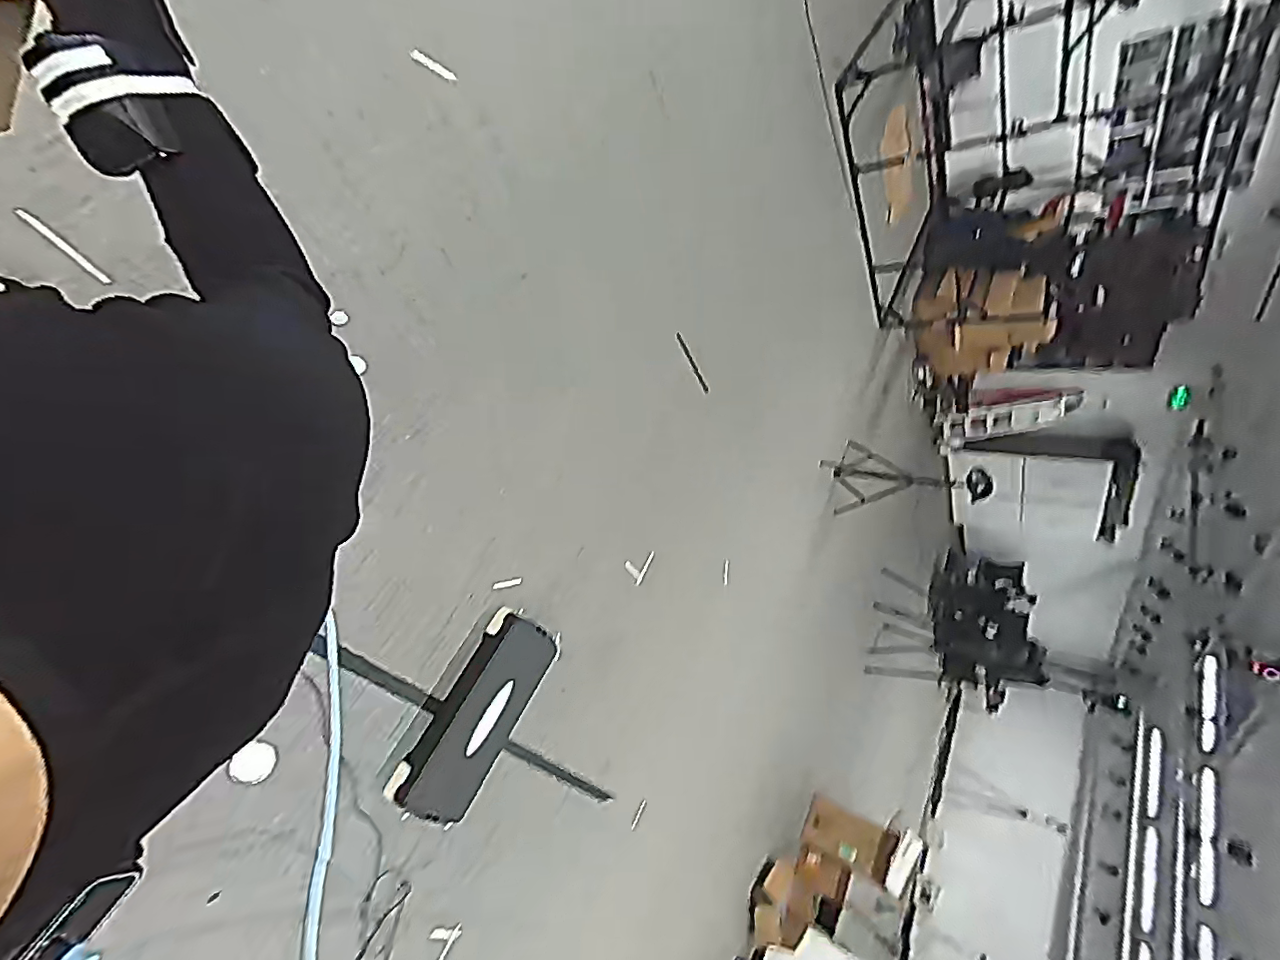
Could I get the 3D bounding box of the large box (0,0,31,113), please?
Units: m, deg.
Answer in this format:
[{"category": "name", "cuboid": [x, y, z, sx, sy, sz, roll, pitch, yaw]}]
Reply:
[{"category": "large box", "cuboid": [-0.621, -0.335, 0.215, 0.408, 0.320, 0.320, -43, 130, -39]}]
